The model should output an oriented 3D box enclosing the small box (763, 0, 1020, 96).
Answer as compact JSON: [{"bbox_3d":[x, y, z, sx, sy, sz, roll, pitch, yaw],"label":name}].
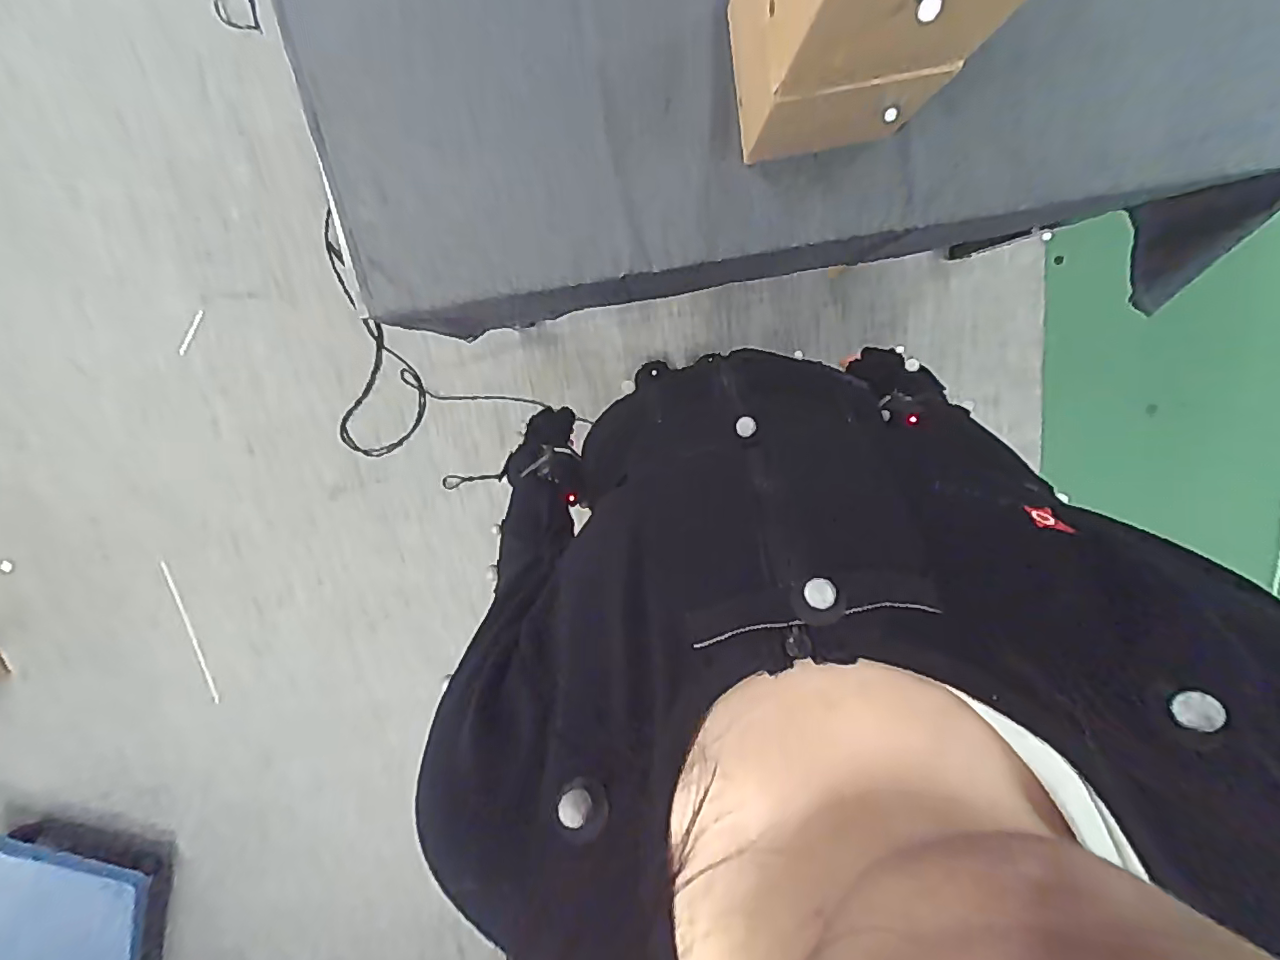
[{"bbox_3d":[0.194,-0.428,0.404,0.179,0.176,0.168,-9,102,4],"label":"small box"}]
